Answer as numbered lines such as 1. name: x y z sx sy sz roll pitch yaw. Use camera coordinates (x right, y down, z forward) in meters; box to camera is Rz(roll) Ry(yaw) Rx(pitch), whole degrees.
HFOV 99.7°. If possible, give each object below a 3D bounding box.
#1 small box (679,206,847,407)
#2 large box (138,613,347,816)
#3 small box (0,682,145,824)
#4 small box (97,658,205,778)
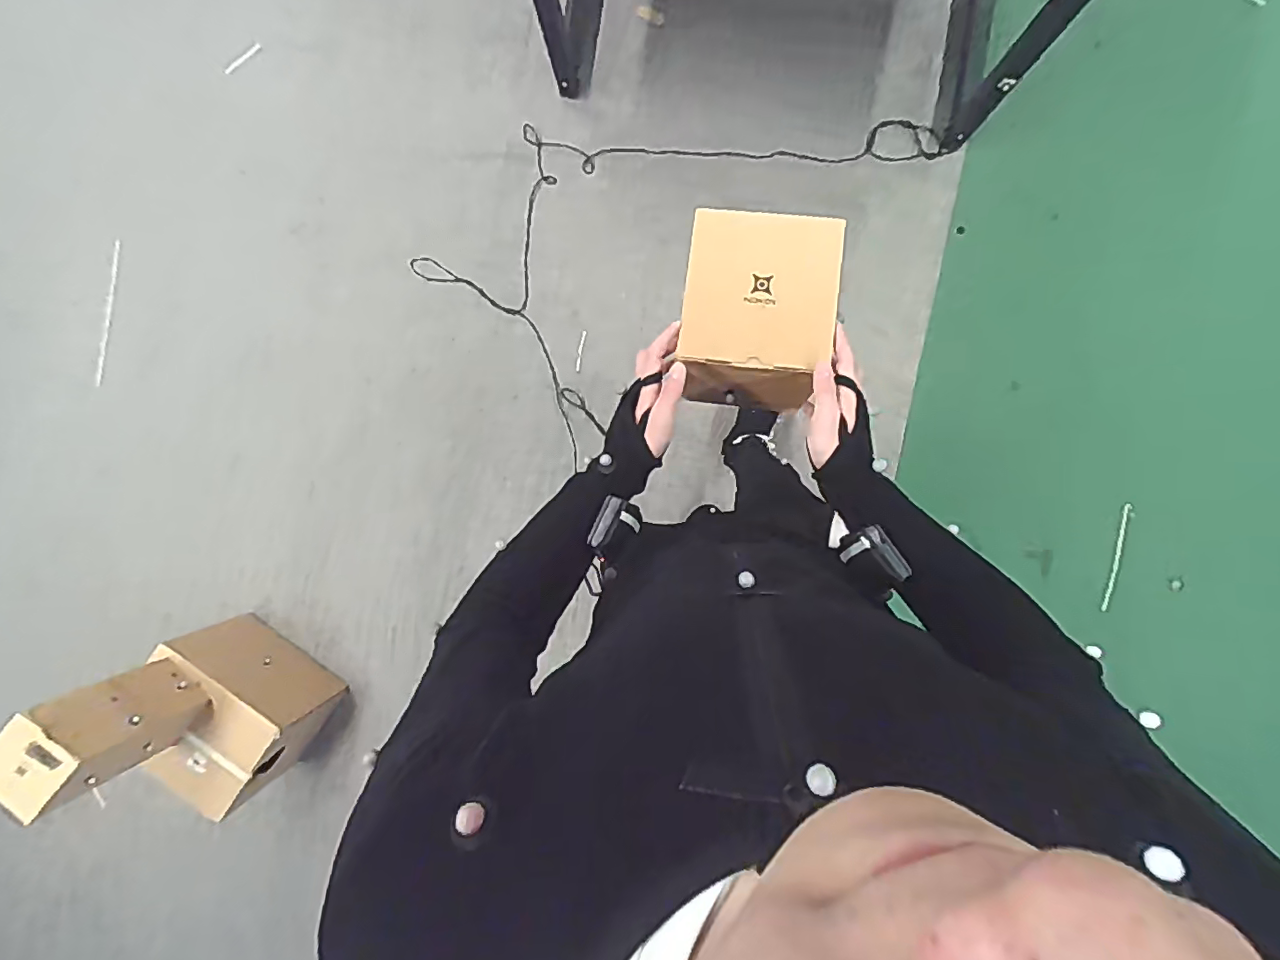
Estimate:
1. small box: 0.138 -0.201 0.663 0.168 0.176 0.179 7 86 5
2. large box: -1.171 0.650 1.566 0.408 0.320 0.320 34 93 1
3. small box: -1.232 0.572 1.159 0.168 0.176 0.179 41 92 1
4. small box: -1.233 0.572 1.322 0.168 0.176 0.179 41 91 1
